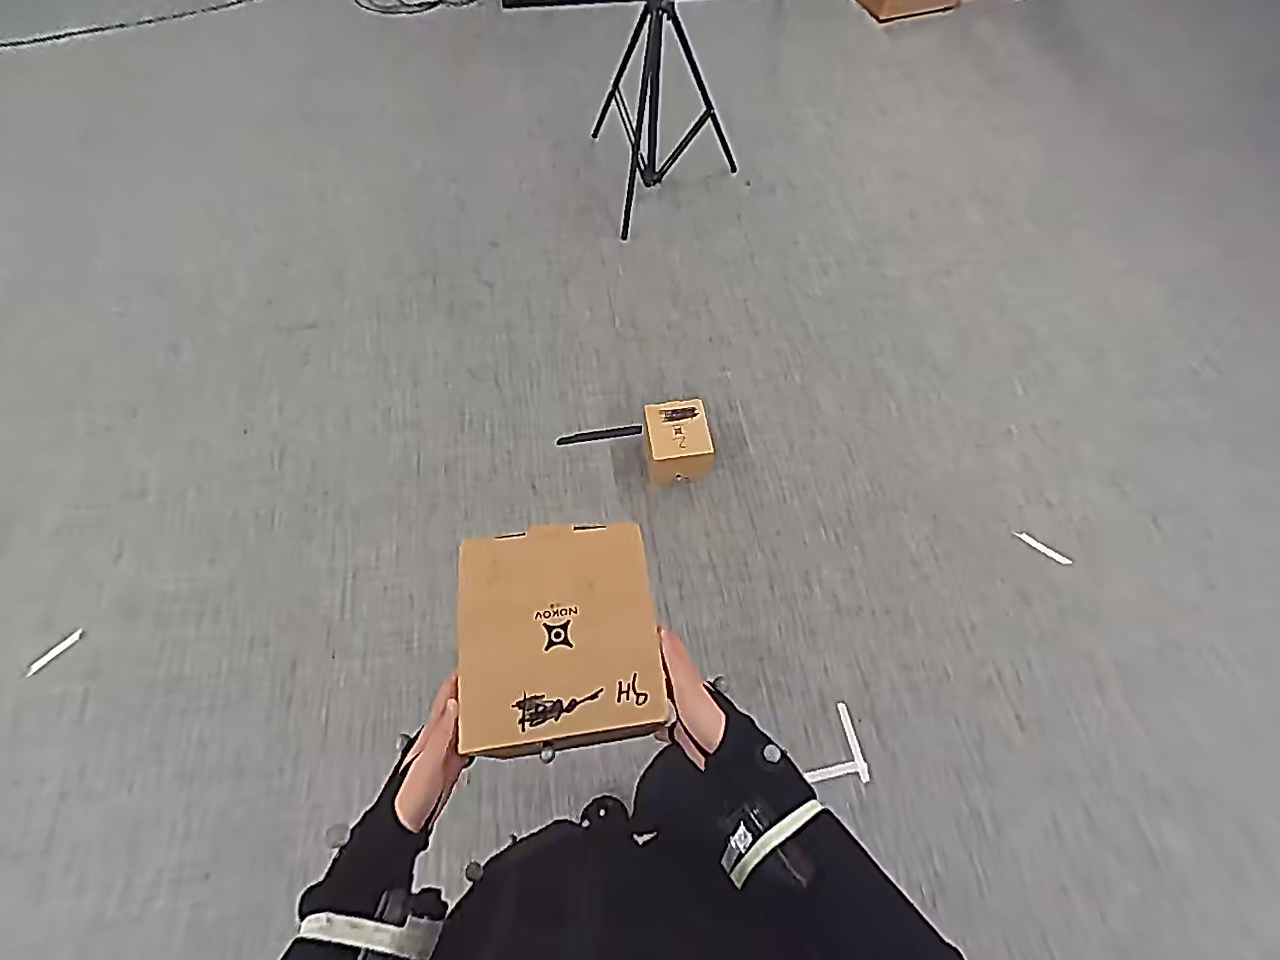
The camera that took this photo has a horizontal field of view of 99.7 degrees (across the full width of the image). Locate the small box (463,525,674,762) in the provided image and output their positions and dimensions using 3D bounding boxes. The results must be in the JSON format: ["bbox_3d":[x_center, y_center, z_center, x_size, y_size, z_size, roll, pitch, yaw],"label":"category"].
[{"bbox_3d":[-0.070,0.163,0.525,0.168,0.176,0.179,-6,62,-7],"label":"small box"}]
